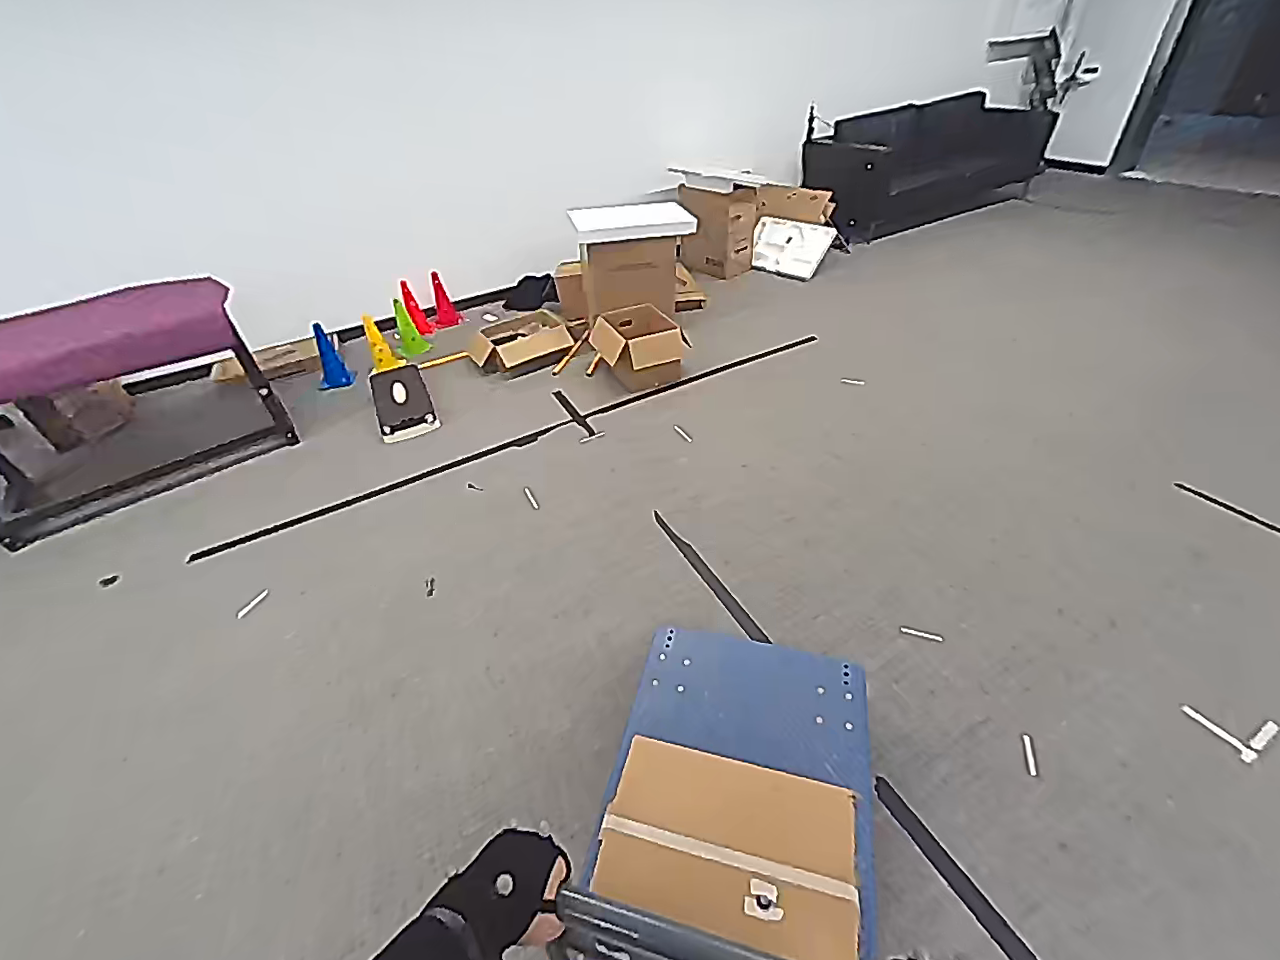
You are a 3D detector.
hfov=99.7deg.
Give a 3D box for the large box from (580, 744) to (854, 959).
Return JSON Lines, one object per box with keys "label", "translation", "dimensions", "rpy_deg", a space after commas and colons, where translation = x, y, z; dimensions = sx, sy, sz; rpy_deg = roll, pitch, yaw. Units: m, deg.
{"label": "large box", "translation": [0.142, 0.737, 0.969], "dimensions": [0.408, 0.320, 0.320], "rpy_deg": [8, 41, 14]}
